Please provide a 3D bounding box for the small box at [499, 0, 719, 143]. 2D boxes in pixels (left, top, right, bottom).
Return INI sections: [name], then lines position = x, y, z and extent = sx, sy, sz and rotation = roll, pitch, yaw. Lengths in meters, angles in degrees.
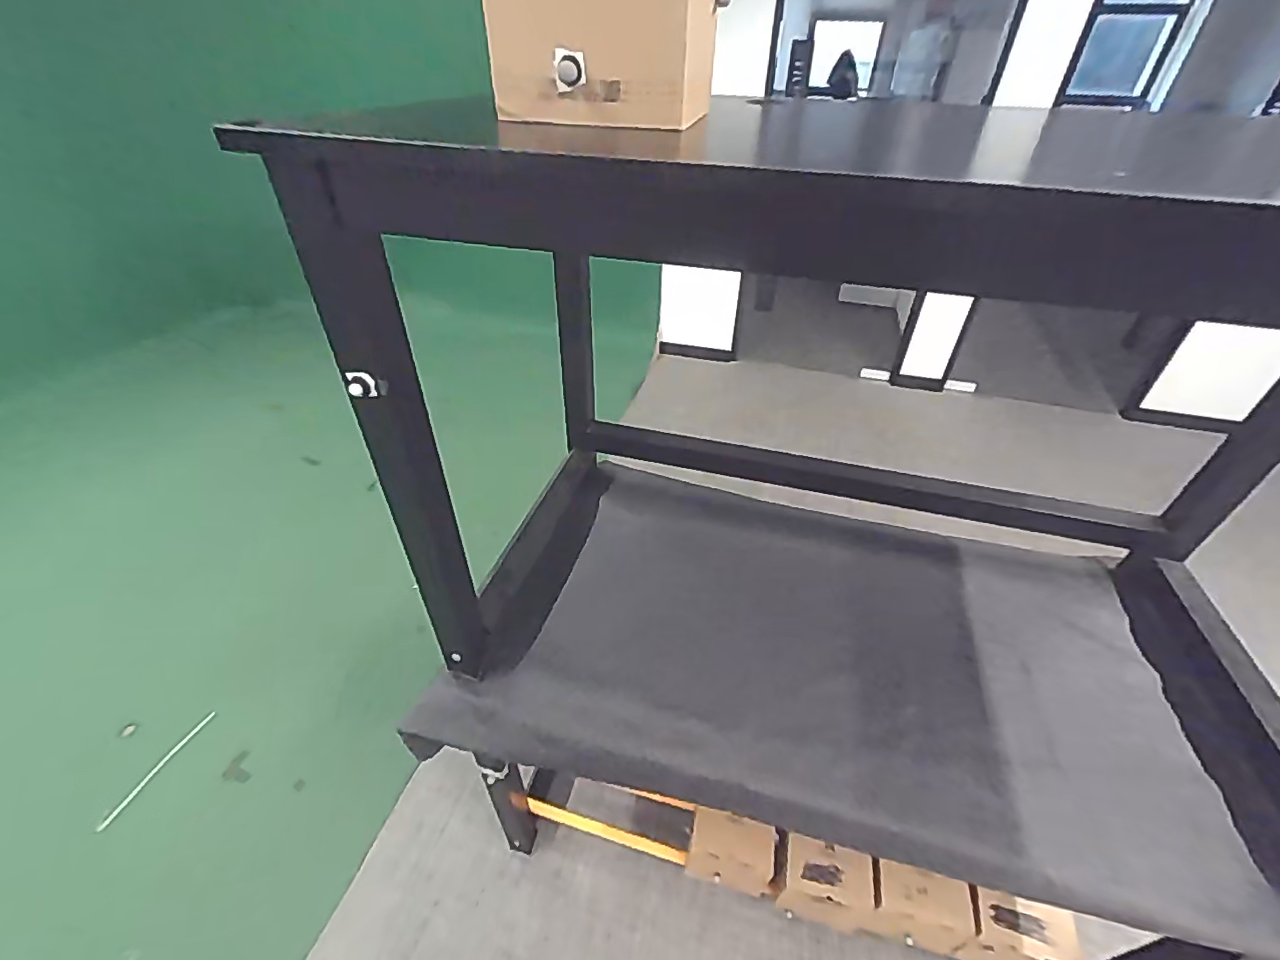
[small box]
position = -0.021, -0.413, 0.481
extent = 0.168, 0.176, 0.179
rotation = 8, 40, 9
